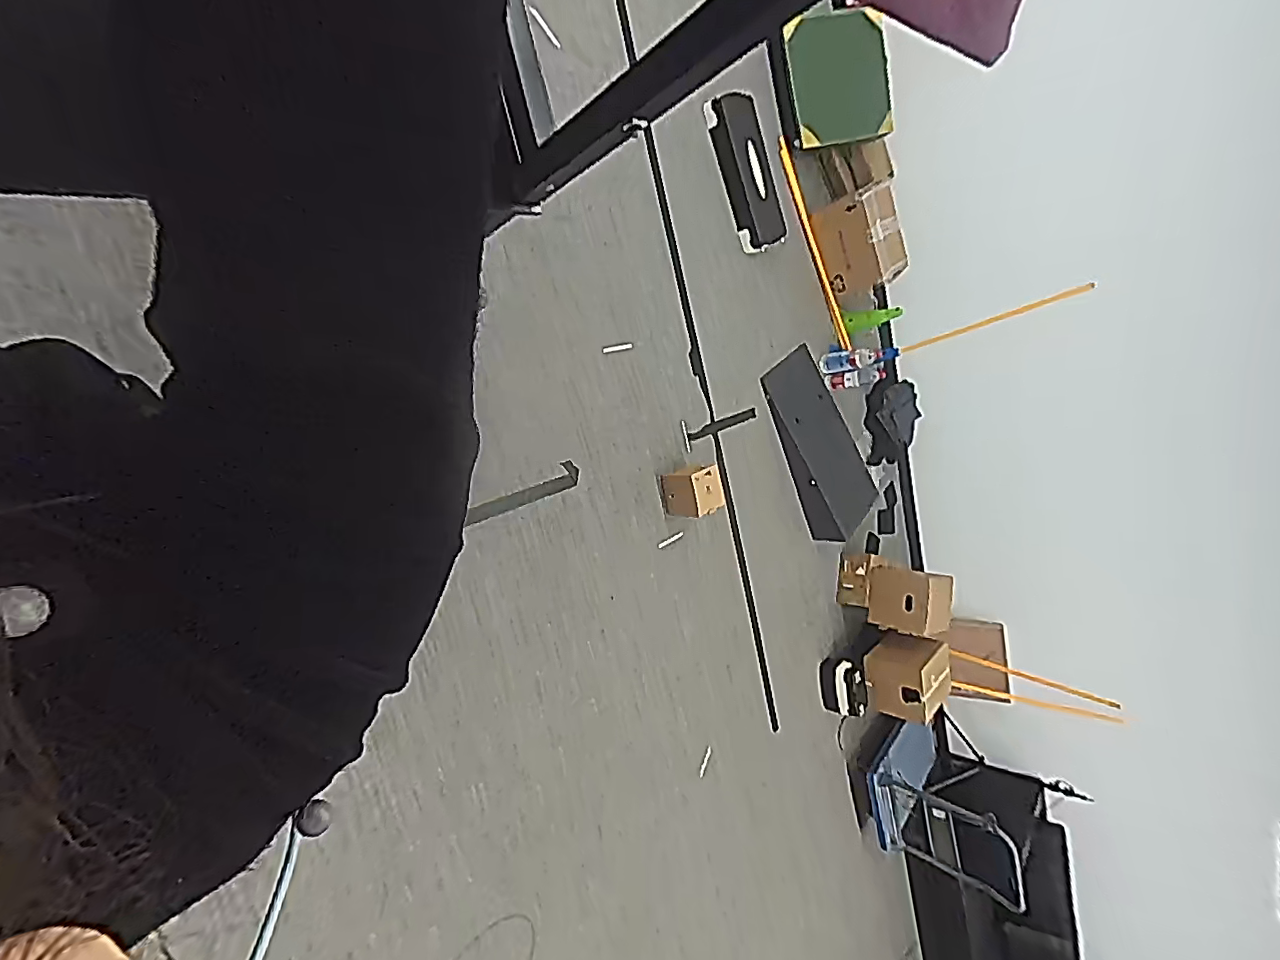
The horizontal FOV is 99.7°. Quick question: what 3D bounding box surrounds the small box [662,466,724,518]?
[{"bbox_3d":[0.214,0.044,2.195,0.168,0.176,0.179,-22,105,-41],"label":"small box"}]
